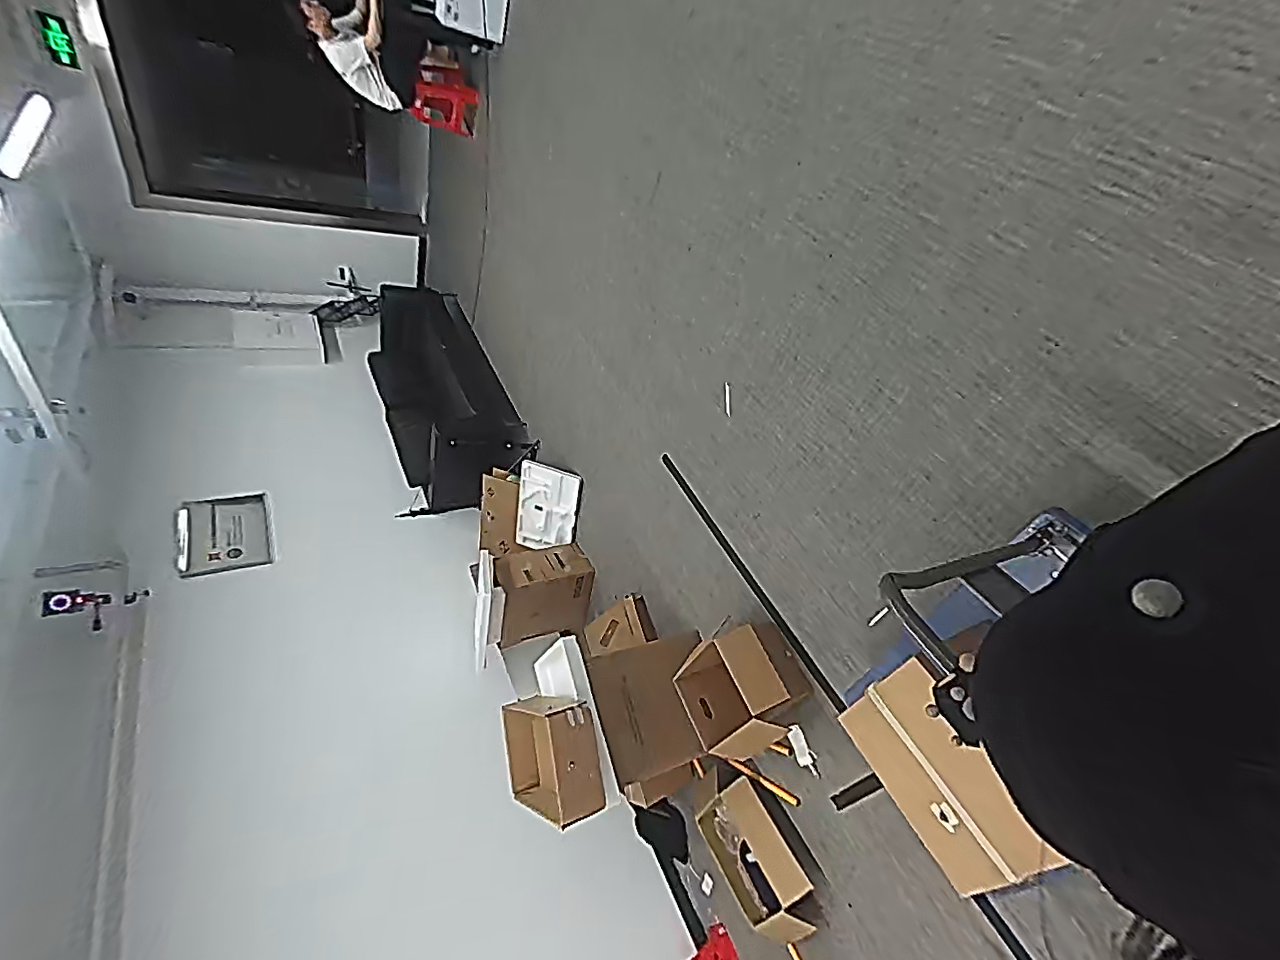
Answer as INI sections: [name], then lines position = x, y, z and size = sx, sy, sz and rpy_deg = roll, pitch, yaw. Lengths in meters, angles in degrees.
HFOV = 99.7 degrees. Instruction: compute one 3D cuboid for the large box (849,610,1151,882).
[large box]
position = 0.773, 0.568, 1.208
size = 0.408, 0.320, 0.320
rpy_deg = 56, 141, 34
